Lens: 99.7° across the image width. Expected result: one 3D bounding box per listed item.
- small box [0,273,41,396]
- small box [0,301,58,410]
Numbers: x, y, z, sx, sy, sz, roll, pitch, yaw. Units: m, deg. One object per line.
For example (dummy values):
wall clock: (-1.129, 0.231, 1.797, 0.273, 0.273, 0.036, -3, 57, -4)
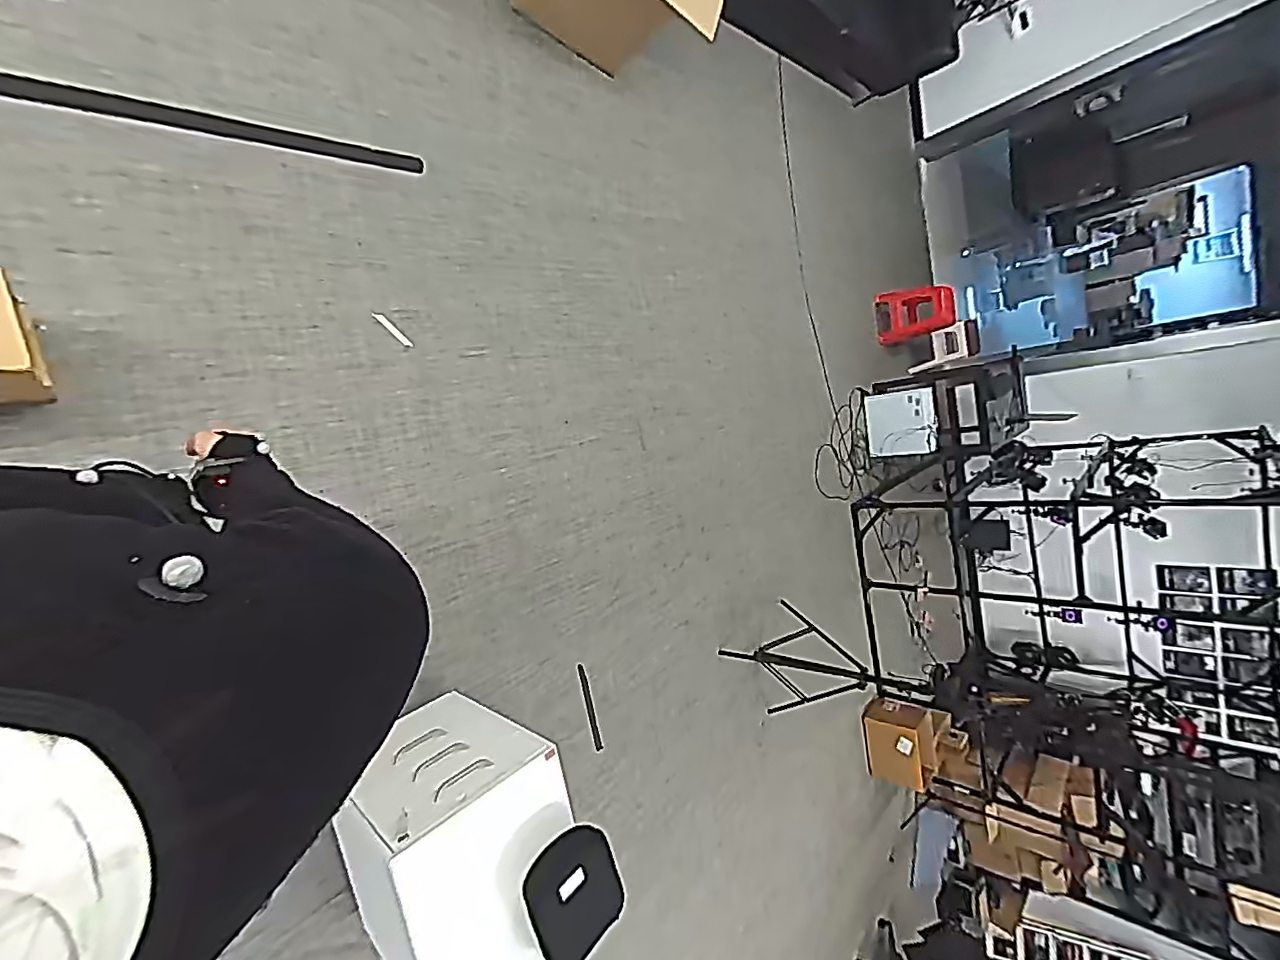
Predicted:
small box: (-1.148, -0.238, 0.901, 0.168, 0.176, 0.179, -17, 99, -43)
small box: (-1.254, -0.230, 1.027, 0.168, 0.176, 0.179, -19, 101, -42)
